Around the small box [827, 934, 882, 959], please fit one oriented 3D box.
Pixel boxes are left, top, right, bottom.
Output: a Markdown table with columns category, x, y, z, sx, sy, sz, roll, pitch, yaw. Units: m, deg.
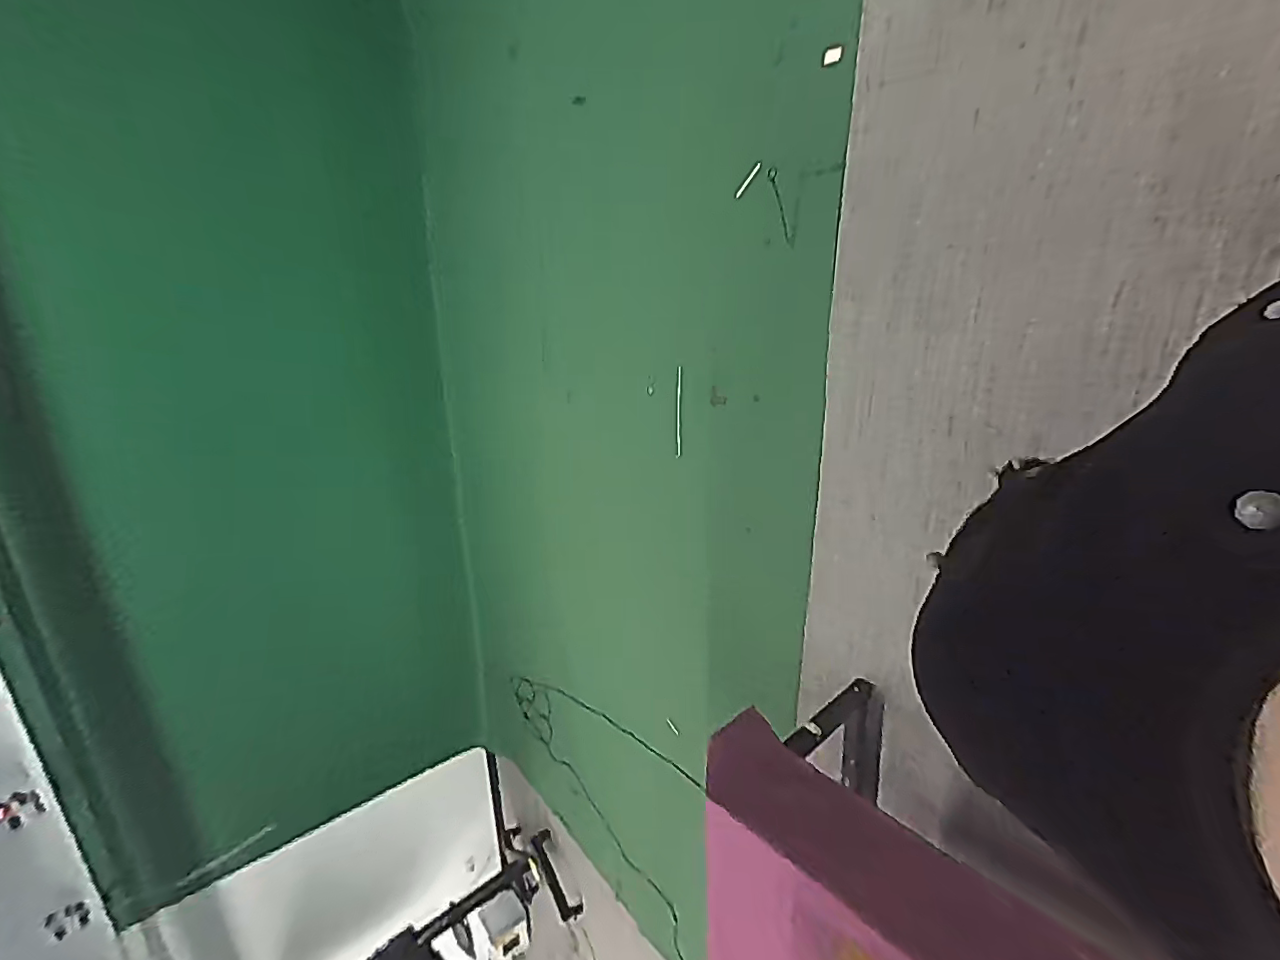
| category | x | y | z | sx | sy | sz | roll | pitch | yaw |
| --- | --- | --- | --- | --- | --- | --- | --- | --- | --- |
| small box | 0.415 | 1.016 | 1.005 | 0.179 | 0.176 | 0.168 | 19 | 117 | 48 |
